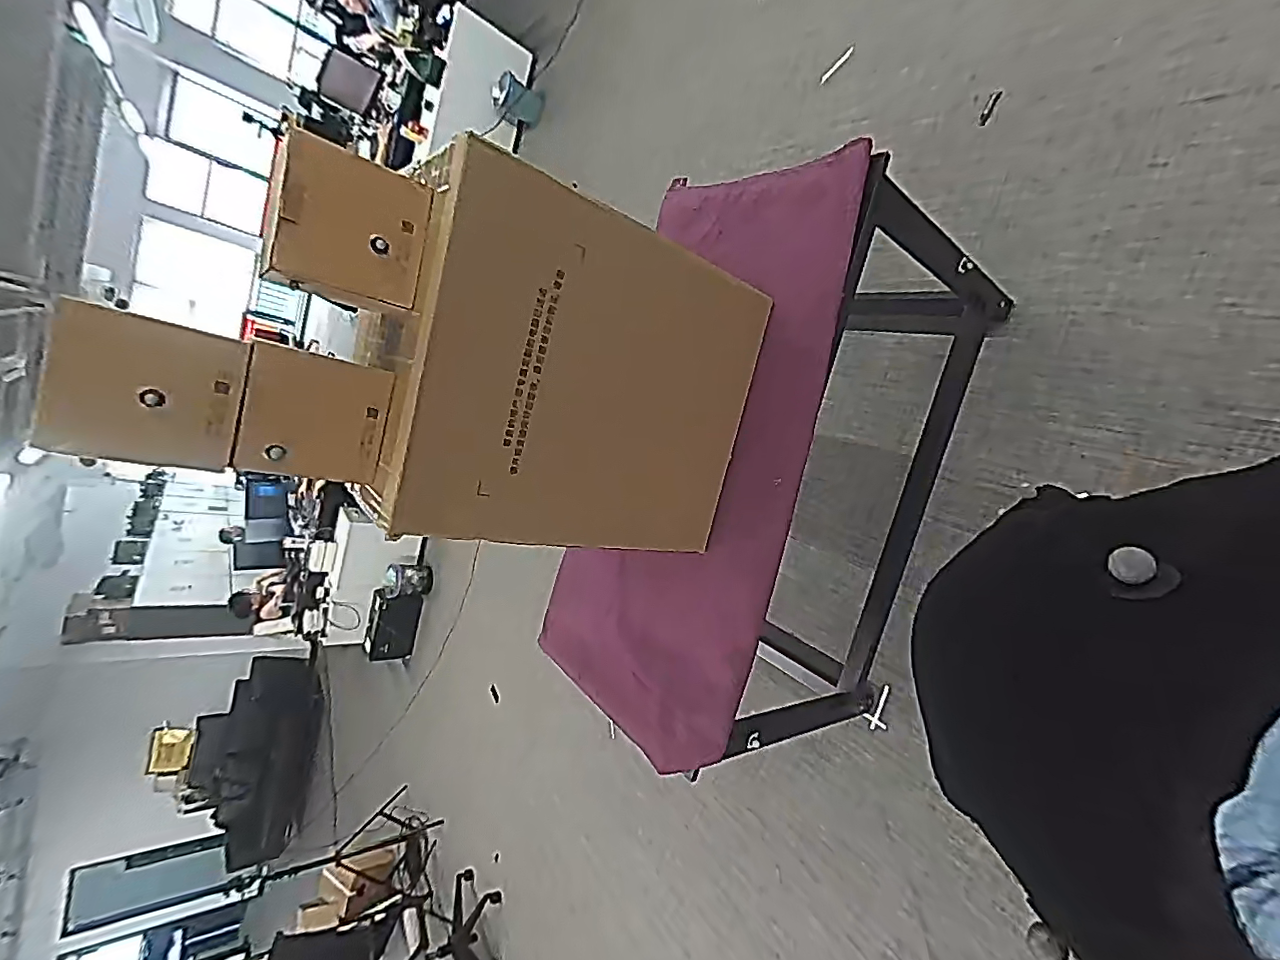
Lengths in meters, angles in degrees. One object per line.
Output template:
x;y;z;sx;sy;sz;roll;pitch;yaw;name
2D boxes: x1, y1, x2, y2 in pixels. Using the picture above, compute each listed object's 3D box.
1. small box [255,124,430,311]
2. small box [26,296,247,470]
-0.409;-0.338;0.741;0.179;0.176;0.168;18;98;49;small box
-0.600;-0.112;0.666;0.179;0.176;0.168;16;94;51;small box
